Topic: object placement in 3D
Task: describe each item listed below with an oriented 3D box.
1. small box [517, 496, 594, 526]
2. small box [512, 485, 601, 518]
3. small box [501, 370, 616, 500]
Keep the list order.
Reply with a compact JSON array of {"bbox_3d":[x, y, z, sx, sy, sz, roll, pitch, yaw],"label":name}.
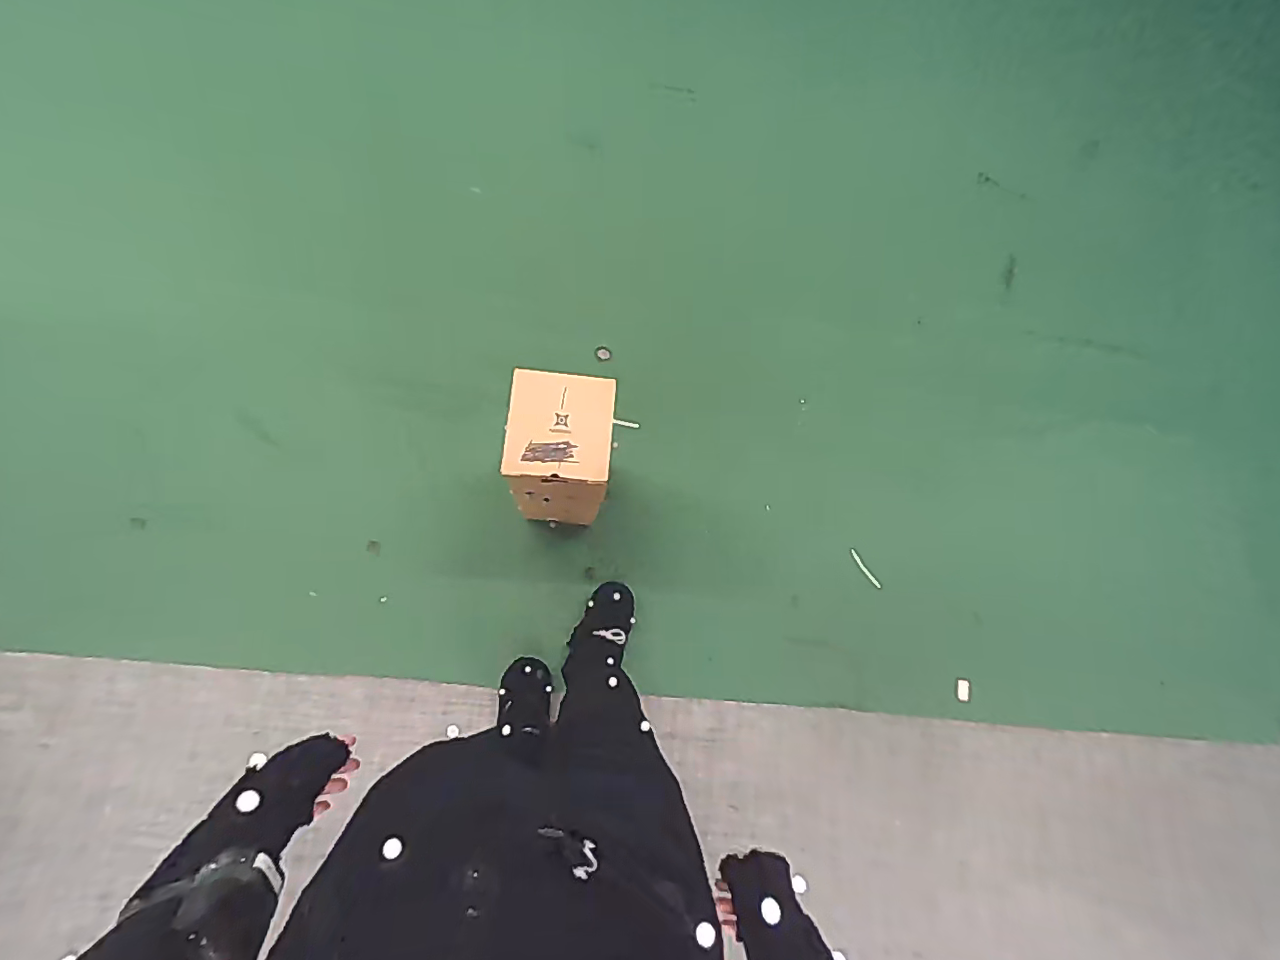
[{"bbox_3d":[-0.175,0.000,1.225,0.168,0.176,0.179,8,77,-4],"label":"small box"},{"bbox_3d":[-0.154,-0.031,1.084,0.168,0.176,0.179,7,76,-5],"label":"small box"},{"bbox_3d":[-0.133,-0.067,0.925,0.168,0.176,0.179,6,77,-6],"label":"small box"}]
